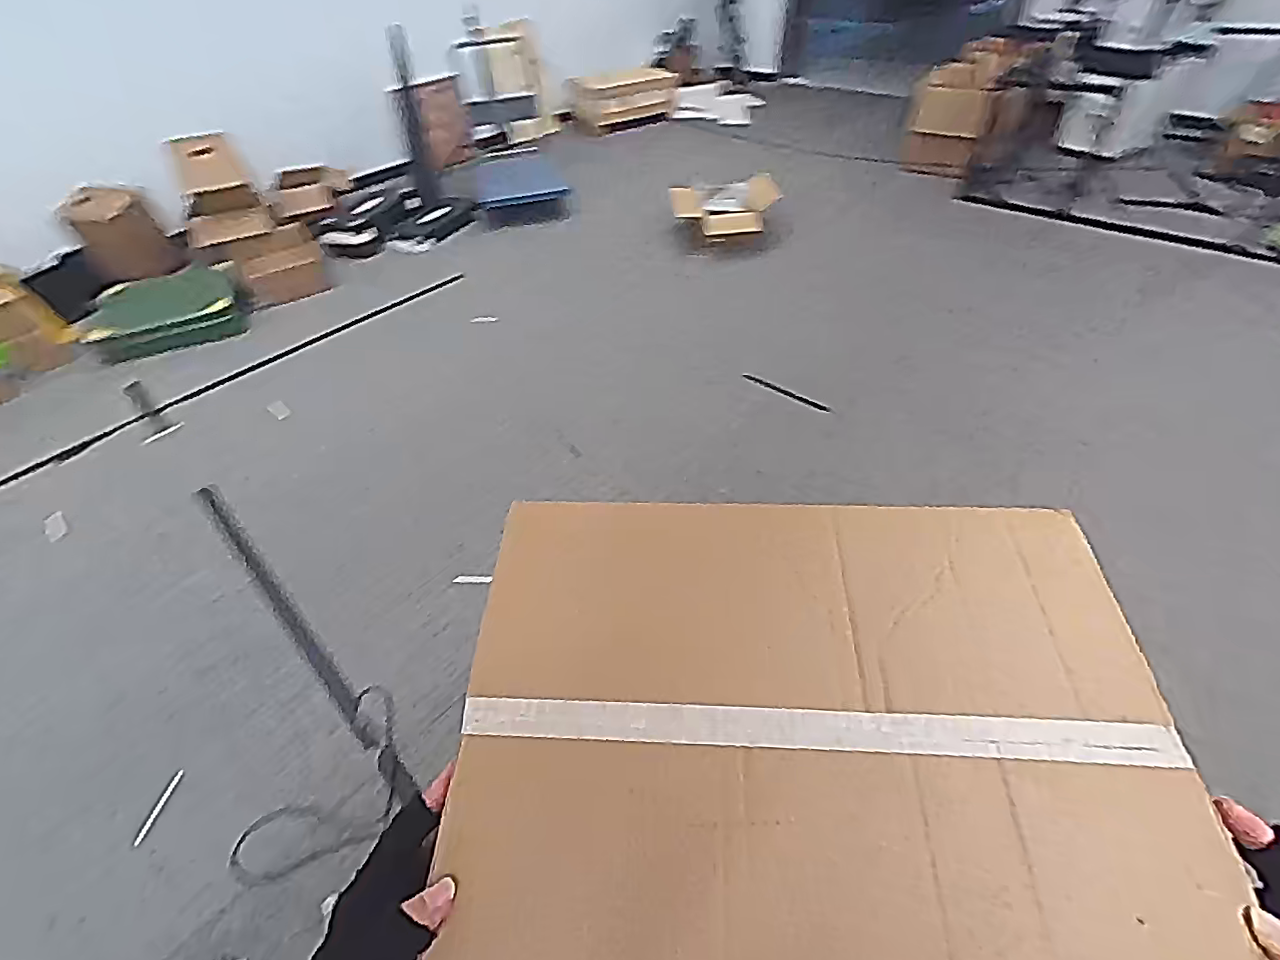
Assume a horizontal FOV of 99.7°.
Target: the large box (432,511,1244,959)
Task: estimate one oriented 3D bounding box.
[{"bbox_3d":[0.101,0.238,0.448,0.408,0.320,0.320,-1,56,4],"label":"large box"}]
